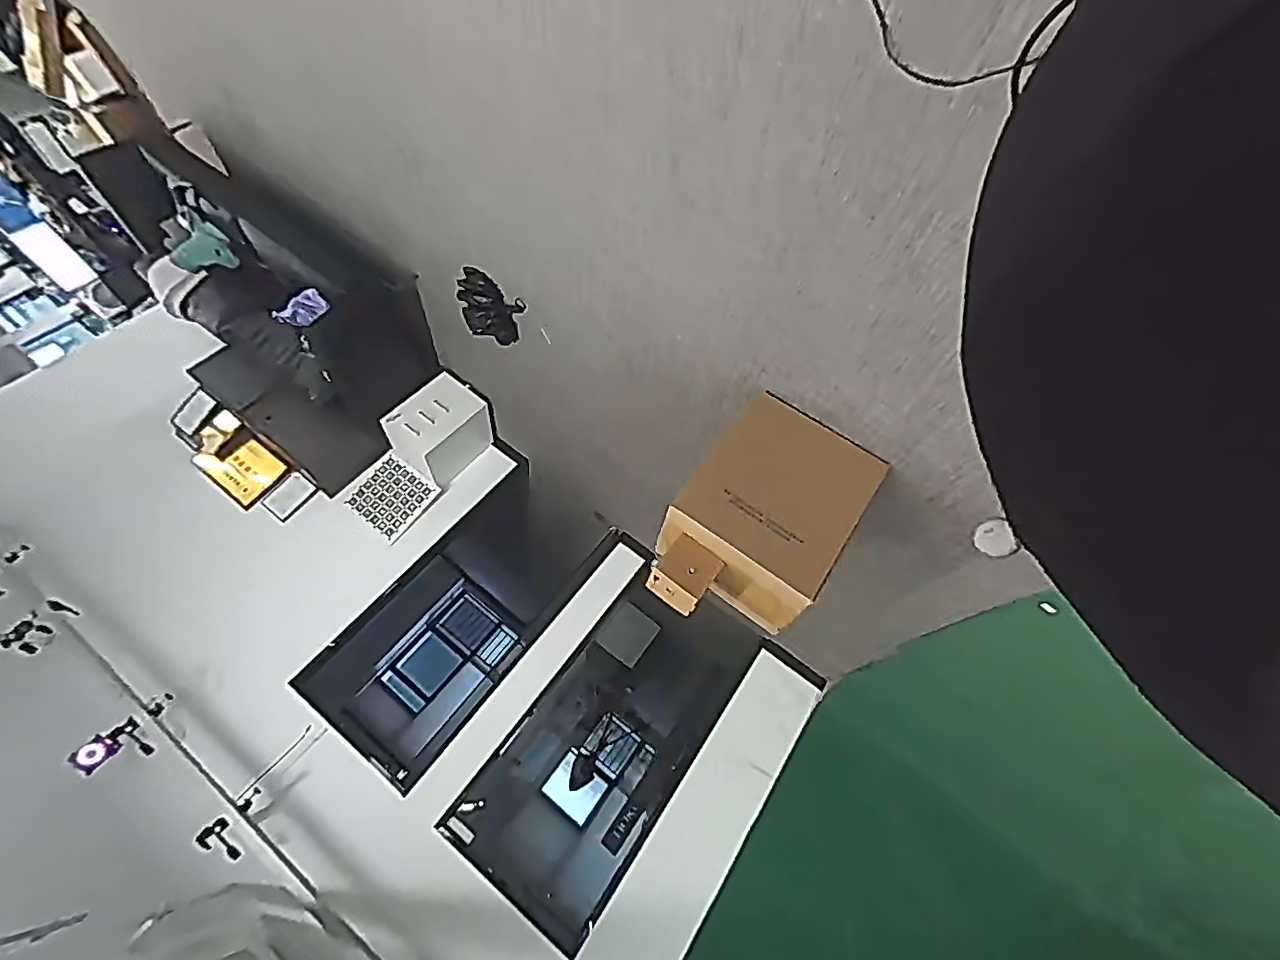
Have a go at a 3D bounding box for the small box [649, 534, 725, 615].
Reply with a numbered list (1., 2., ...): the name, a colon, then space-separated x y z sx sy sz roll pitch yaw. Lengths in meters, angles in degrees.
1. small box: 0.160 0.312 1.805 0.179 0.176 0.168 34 148 11
